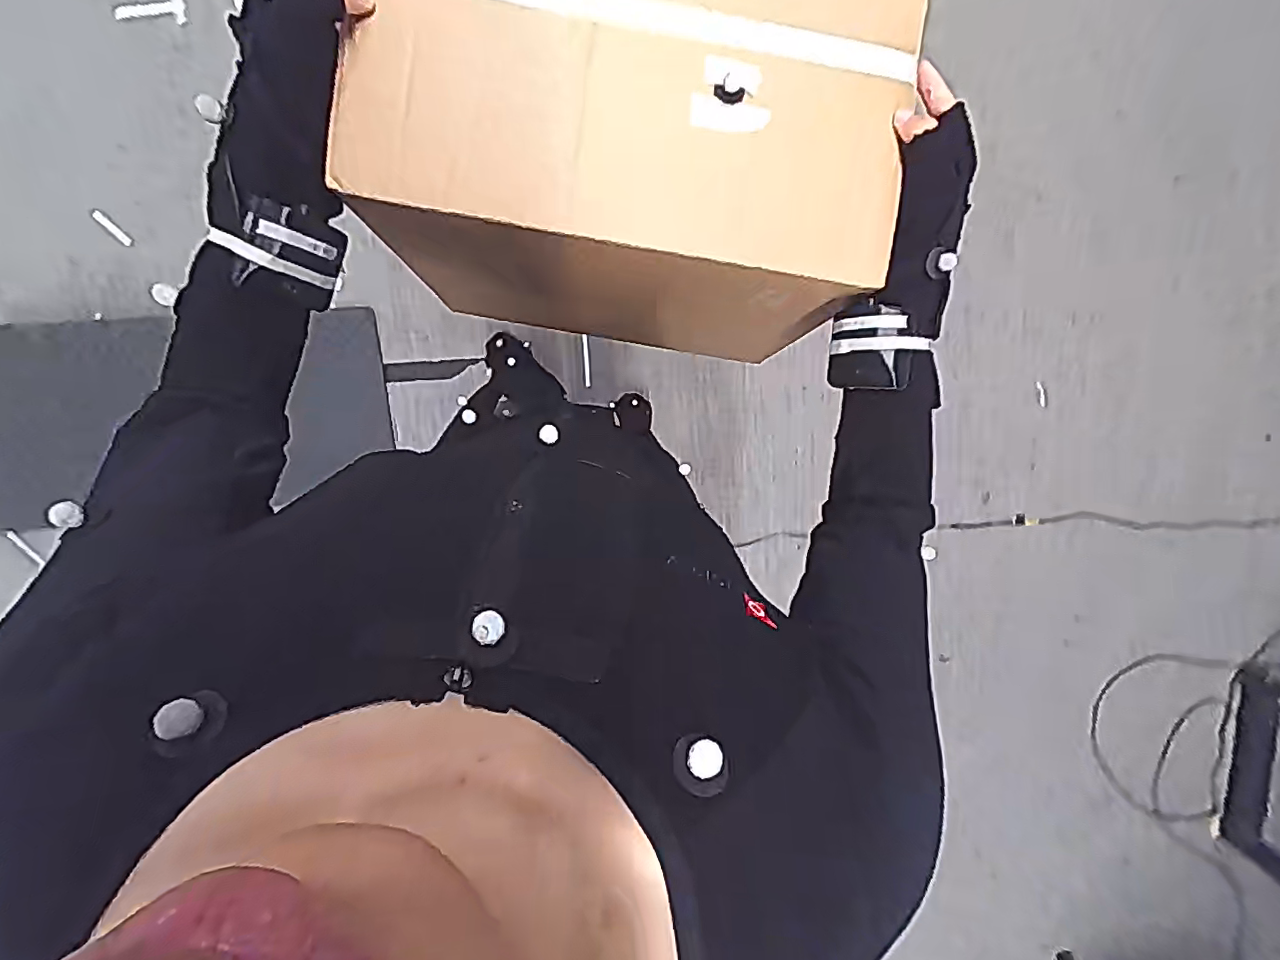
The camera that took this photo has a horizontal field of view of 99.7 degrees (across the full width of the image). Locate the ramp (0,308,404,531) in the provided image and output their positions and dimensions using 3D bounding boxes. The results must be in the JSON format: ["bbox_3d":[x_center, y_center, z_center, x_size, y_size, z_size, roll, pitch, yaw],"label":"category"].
[{"bbox_3d":[-1.151,-0.162,1.358,0.991,0.206,0.509,-6,99,0],"label":"ramp"}]

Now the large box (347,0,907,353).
[{"bbox_3d":[-0.012,-0.336,0.550,0.408,0.320,0.320,7,91,-5],"label":"large box"}]
